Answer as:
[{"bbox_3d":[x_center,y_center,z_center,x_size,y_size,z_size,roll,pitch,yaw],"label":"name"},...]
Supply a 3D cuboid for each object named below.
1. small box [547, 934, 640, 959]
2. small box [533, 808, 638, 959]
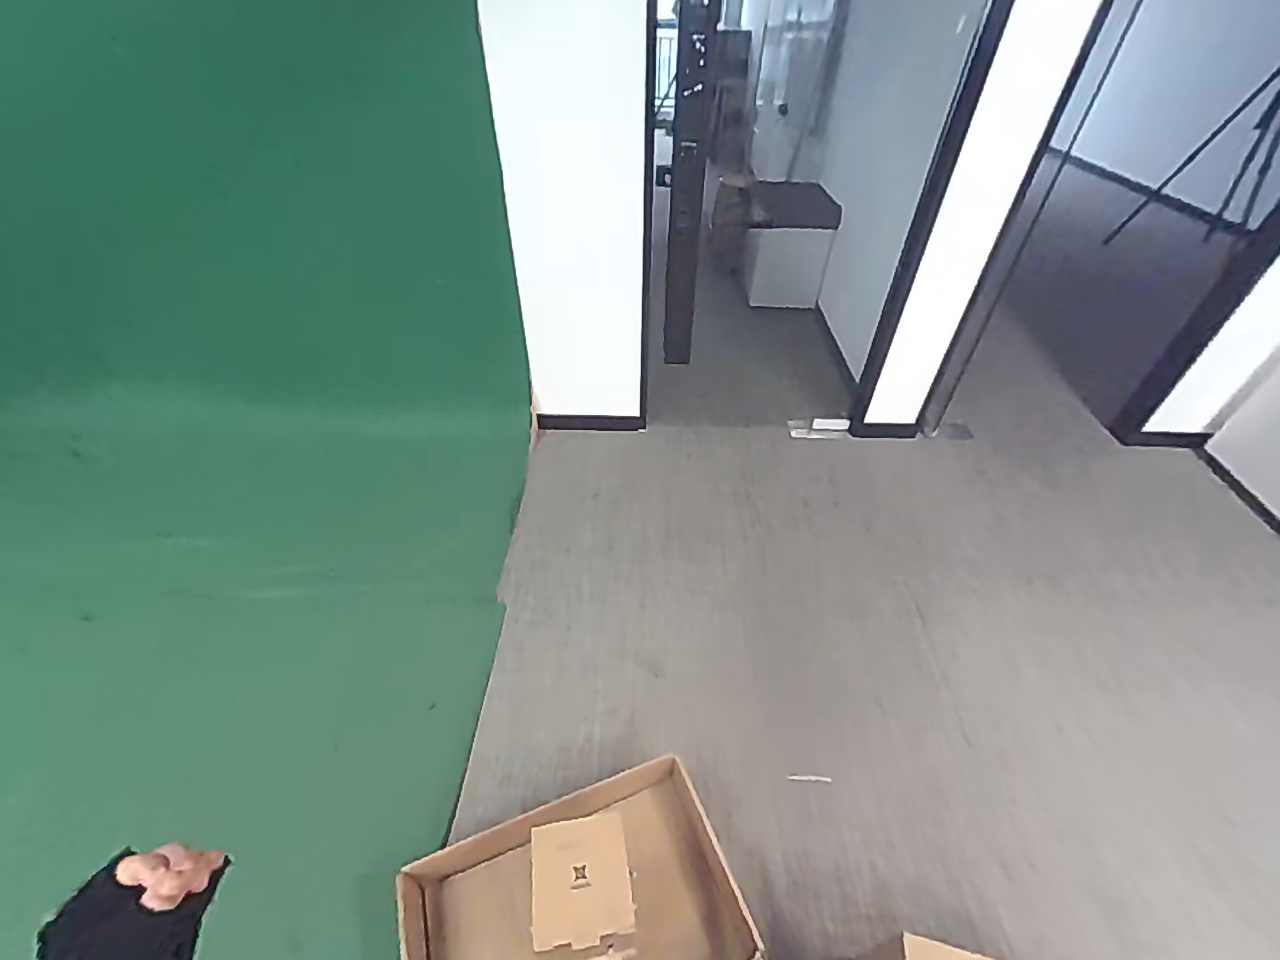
[{"bbox_3d":[-0.097,0.856,1.068,0.168,0.176,0.179,-10,42,-10],"label":"small box"},{"bbox_3d":[-0.097,0.726,0.970,0.168,0.176,0.179,-7,41,-8],"label":"small box"}]
